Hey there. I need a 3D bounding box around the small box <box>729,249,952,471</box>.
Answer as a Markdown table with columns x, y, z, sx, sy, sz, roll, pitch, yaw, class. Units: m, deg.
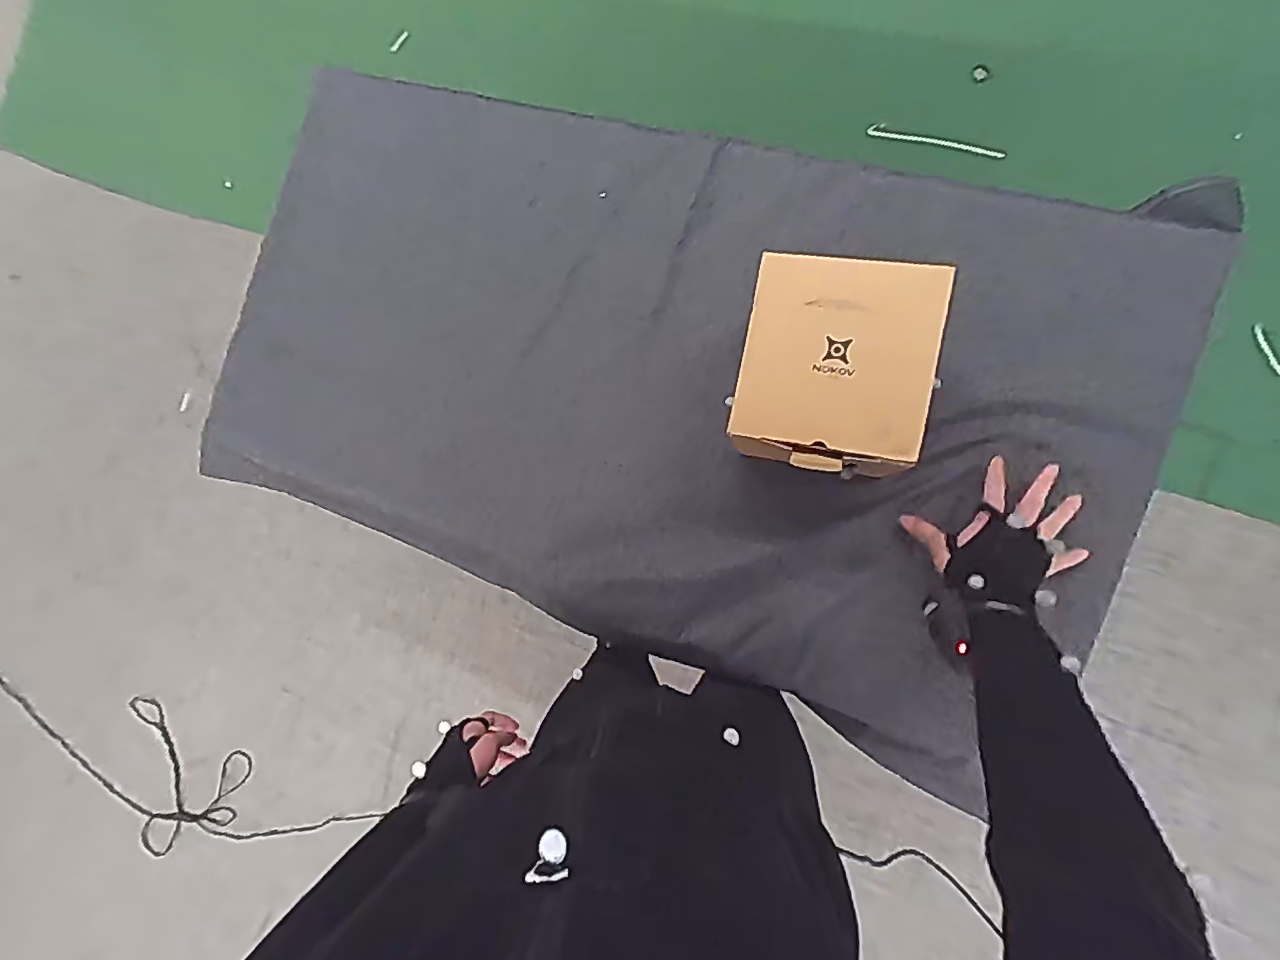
| x | y | z | sx | sy | sz | roll | pitch | yaw | class |
| --- | --- | --- | --- | --- | --- | --- | --- | --- | --- |
| 0.195 | -0.111 | 0.562 | 0.168 | 0.176 | 0.179 | 11 | 88 | 13 | small box |
